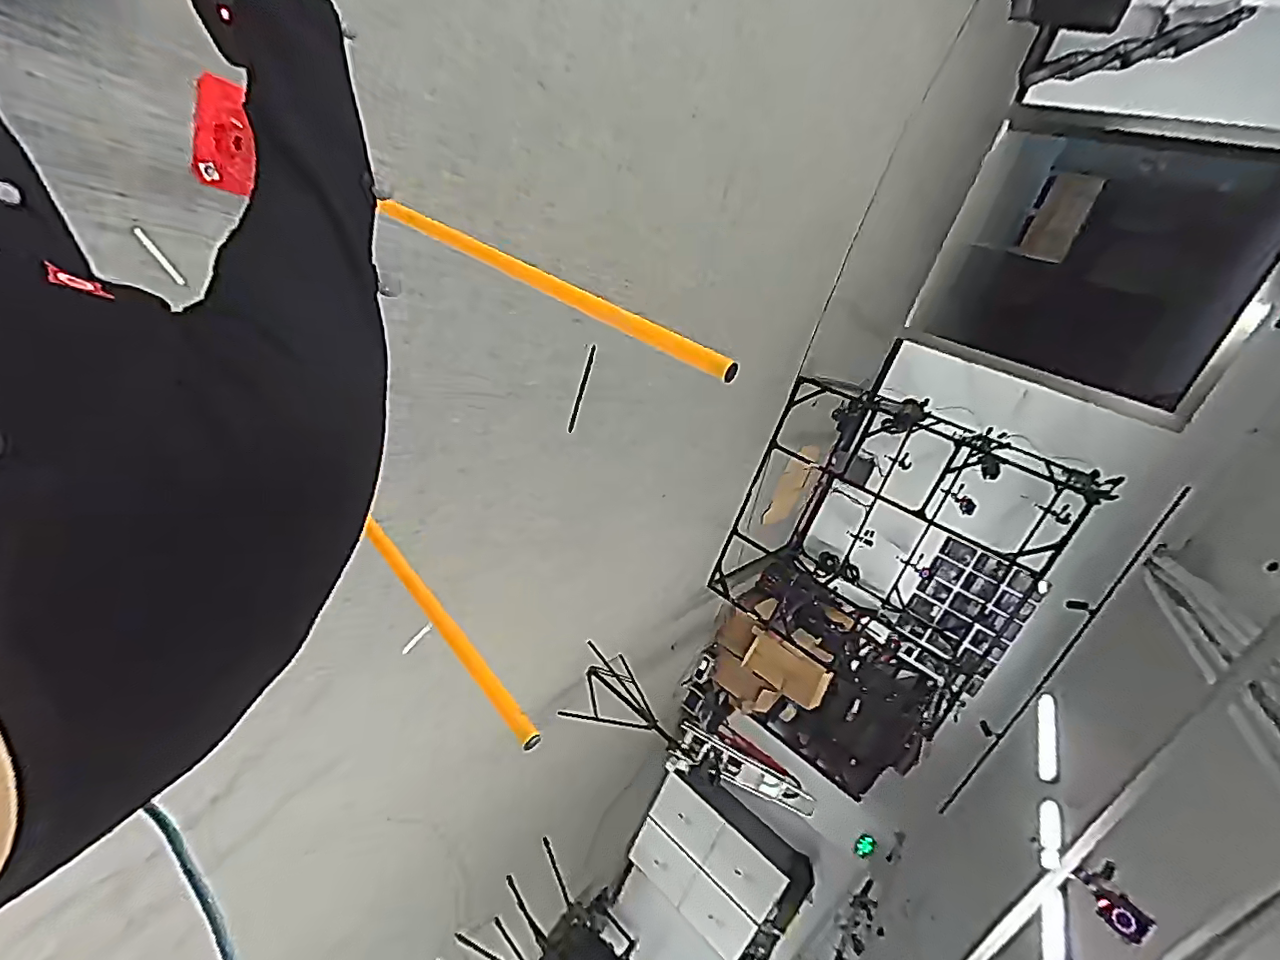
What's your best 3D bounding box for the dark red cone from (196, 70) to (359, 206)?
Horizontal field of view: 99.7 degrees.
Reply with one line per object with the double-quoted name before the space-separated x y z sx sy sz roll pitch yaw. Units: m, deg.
"dark red cone" -0.659 -0.617 1.032 0.201 0.394 0.202 -11 127 -56
